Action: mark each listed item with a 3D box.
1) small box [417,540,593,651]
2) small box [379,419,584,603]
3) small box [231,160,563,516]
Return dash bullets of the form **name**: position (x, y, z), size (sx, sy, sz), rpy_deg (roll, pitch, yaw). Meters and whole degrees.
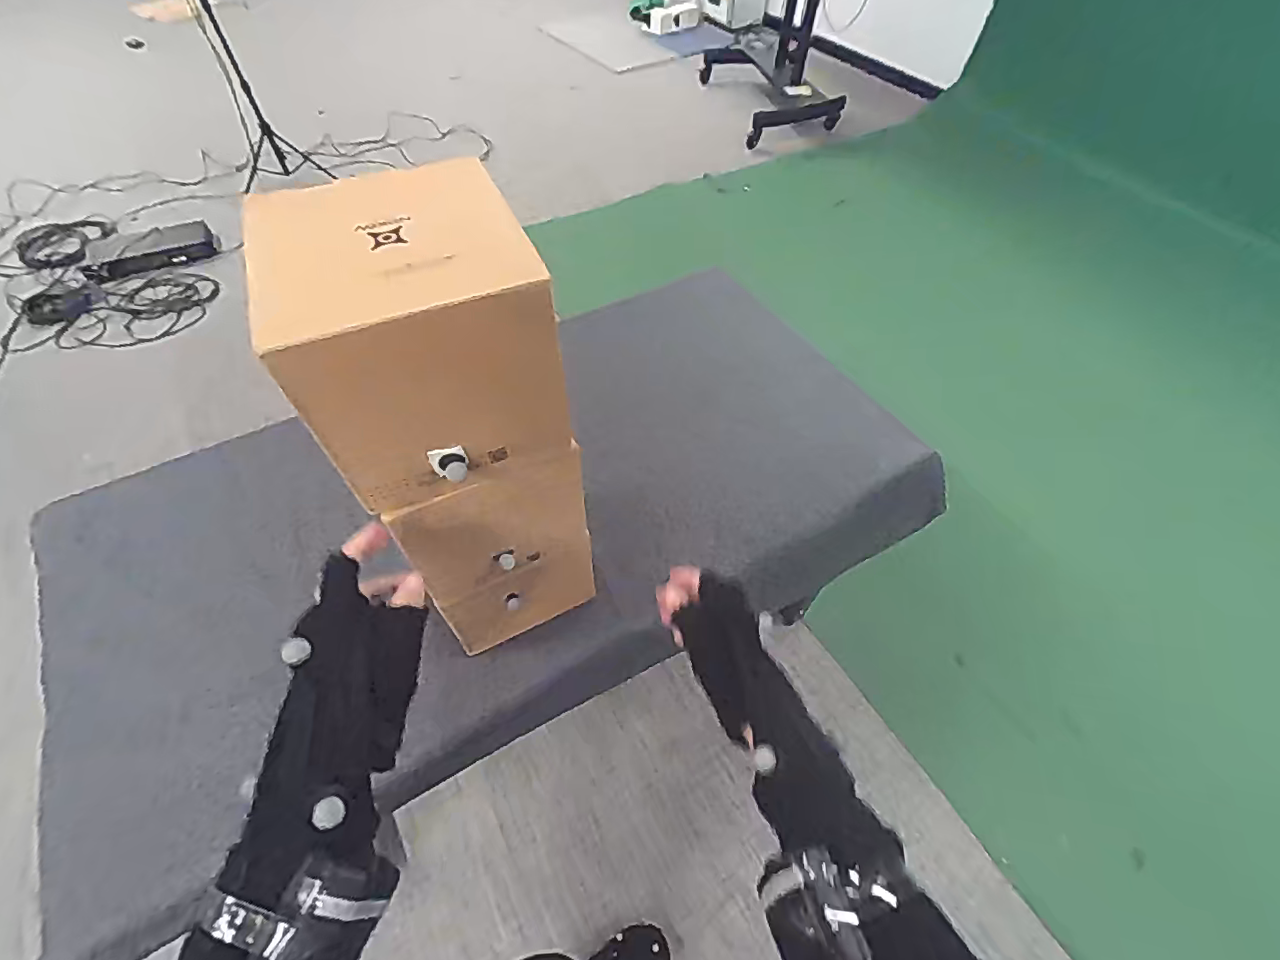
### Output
- **small box**: position (-0.173, 0.085, 0.675), size (0.179, 0.176, 0.168), rpy_deg (-24, 58, -16)
- **small box**: position (-0.169, -0.011, 0.542), size (0.168, 0.176, 0.179), rpy_deg (-26, 56, -18)
- **small box**: position (-0.170, -0.104, 0.410), size (0.168, 0.176, 0.179), rpy_deg (-22, 58, -14)
